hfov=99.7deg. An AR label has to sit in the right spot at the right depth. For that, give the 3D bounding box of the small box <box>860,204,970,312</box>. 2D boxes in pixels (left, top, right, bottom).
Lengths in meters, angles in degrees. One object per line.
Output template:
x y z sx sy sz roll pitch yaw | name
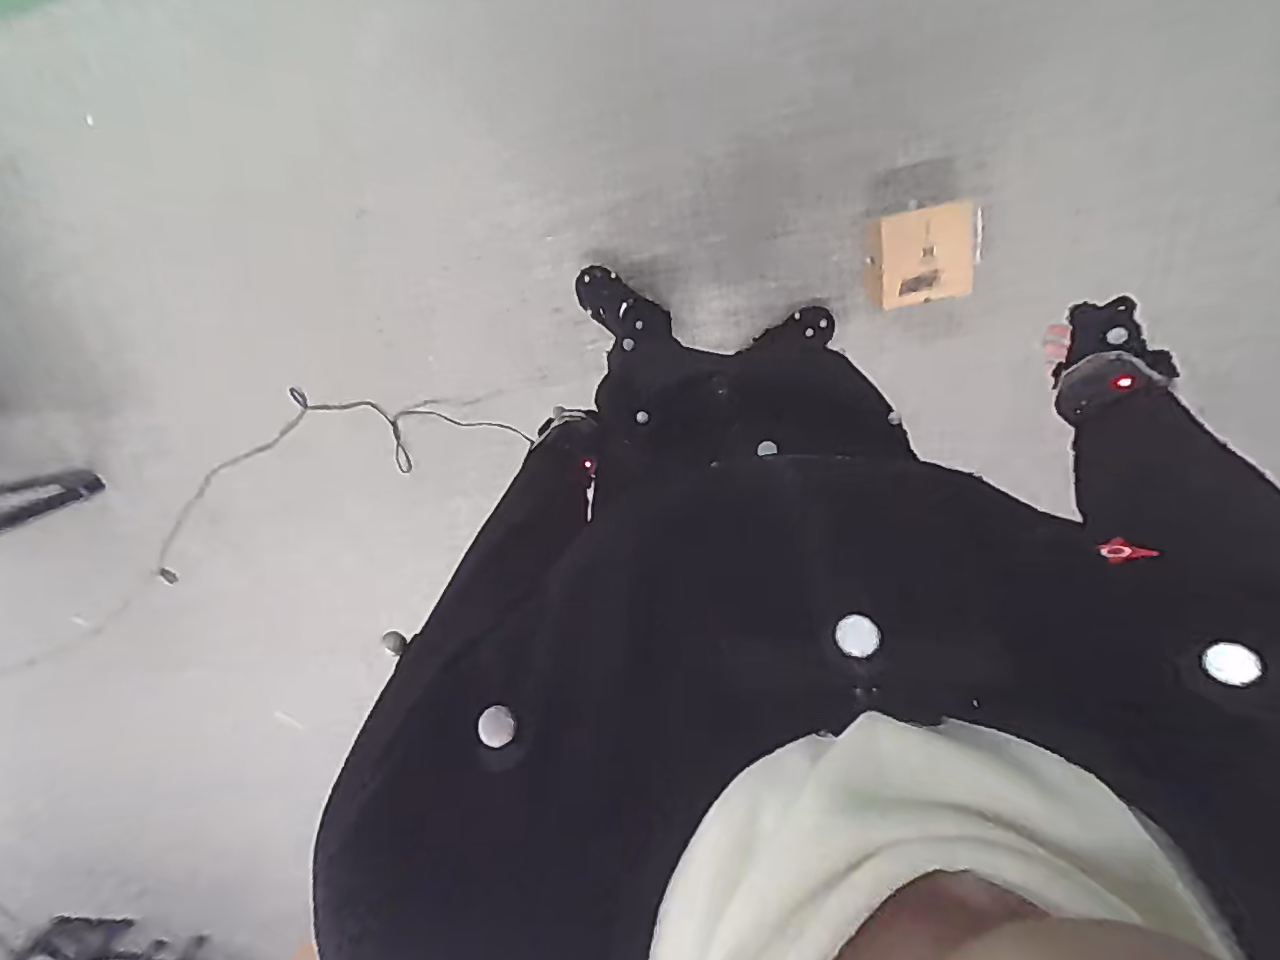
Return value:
0.564 -0.460 1.127 0.168 0.176 0.179 -7 111 12 | small box
